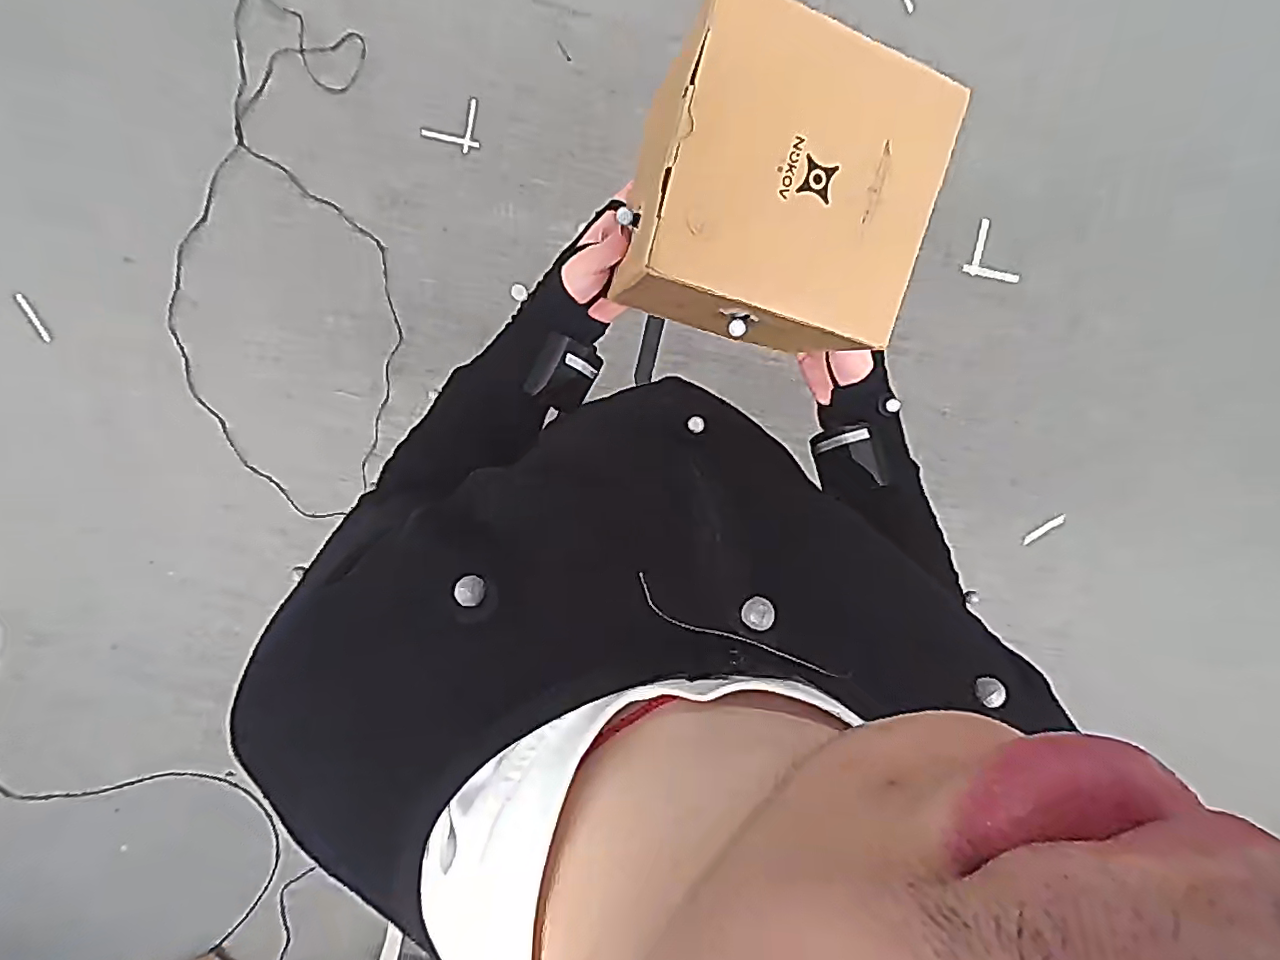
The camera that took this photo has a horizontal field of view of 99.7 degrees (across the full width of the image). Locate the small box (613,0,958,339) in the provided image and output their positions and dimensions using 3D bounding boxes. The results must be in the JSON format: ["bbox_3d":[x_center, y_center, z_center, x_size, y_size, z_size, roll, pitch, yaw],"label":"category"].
[{"bbox_3d":[0.088,-0.210,0.417,0.179,0.176,0.168,13,100,-15],"label":"small box"}]
